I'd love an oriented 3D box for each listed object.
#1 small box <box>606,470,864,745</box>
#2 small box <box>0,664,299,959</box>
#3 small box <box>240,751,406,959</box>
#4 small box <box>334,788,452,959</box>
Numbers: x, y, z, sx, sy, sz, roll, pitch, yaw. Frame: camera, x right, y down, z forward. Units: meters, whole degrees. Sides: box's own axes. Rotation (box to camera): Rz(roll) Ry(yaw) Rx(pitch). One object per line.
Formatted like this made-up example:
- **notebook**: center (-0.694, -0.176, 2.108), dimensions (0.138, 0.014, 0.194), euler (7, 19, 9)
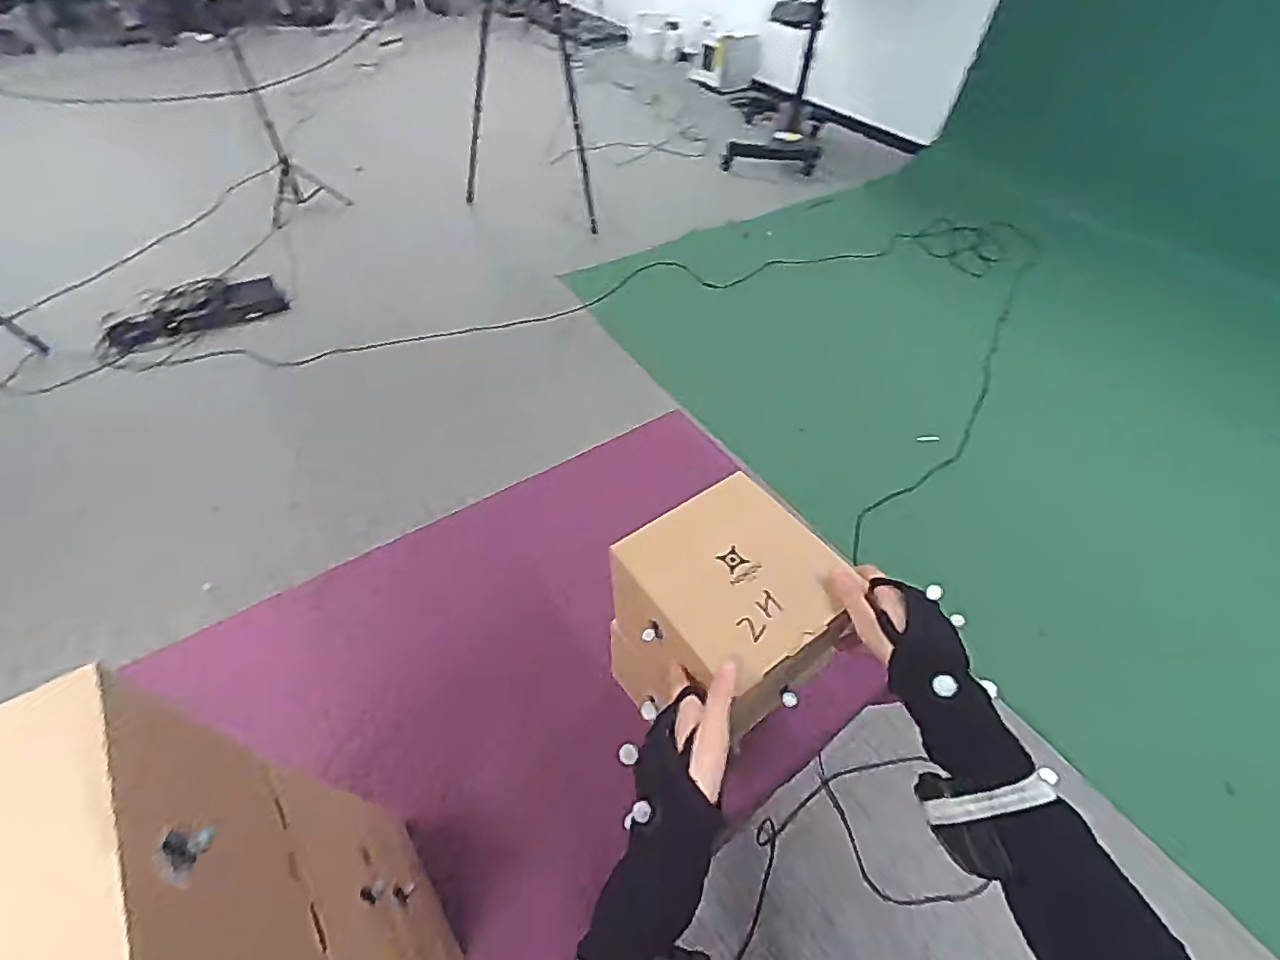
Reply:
- **small box**: center (0.080, 0.129, 0.545), dimensions (0.168, 0.176, 0.179), euler (-28, 55, -21)
- **small box**: center (-0.290, 0.227, 0.250), dimensions (0.168, 0.176, 0.179), euler (-27, 56, -24)
- **small box**: center (-0.295, 0.333, 0.374), dimensions (0.179, 0.176, 0.168), euler (-30, 57, -25)
- **small box**: center (-0.303, 0.432, 0.503), dimensions (0.179, 0.176, 0.168), euler (-30, 58, -24)
